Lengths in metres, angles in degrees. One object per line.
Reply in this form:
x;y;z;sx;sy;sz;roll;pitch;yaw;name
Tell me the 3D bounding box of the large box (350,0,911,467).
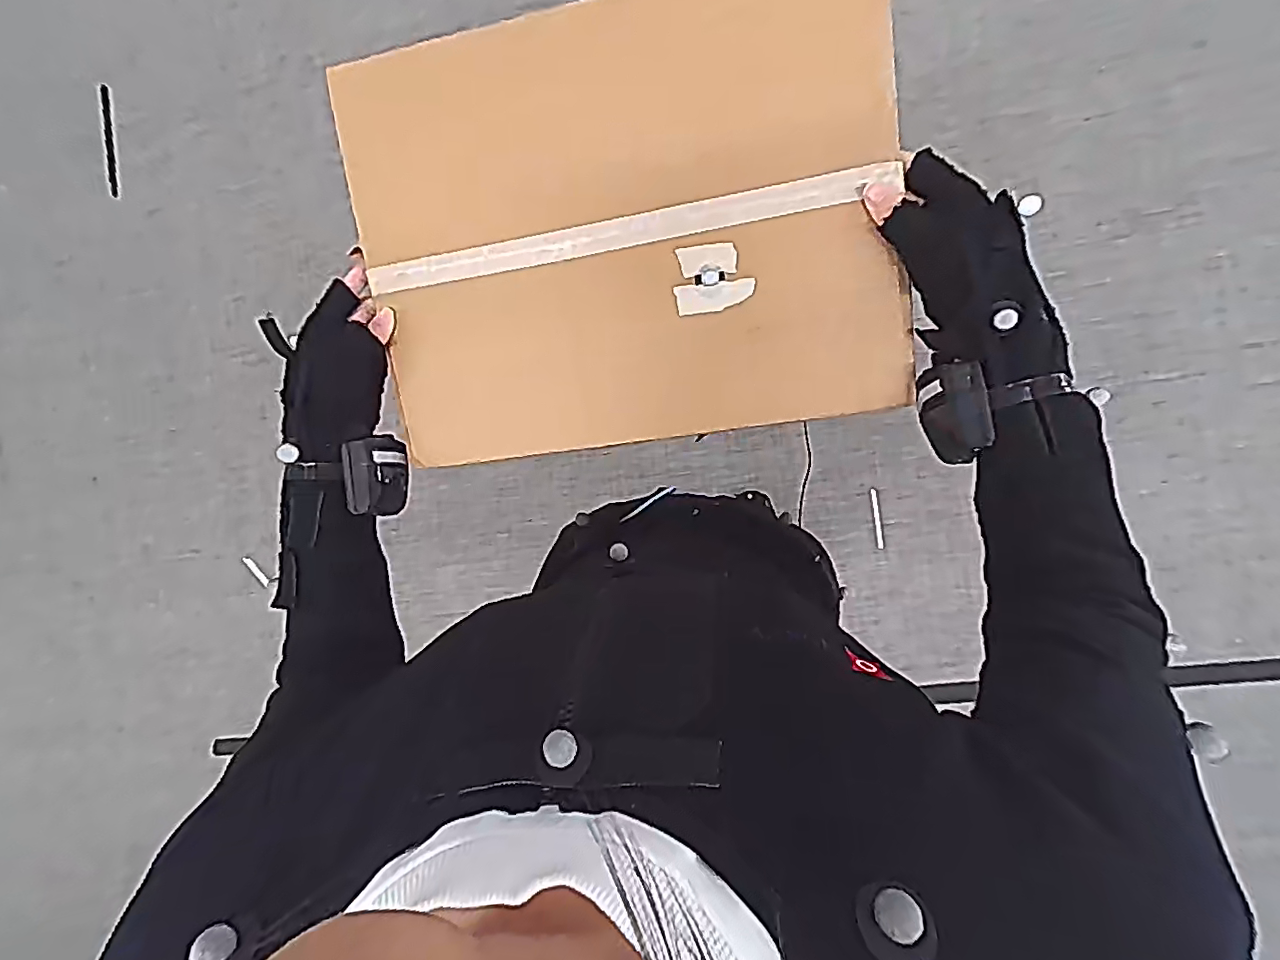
0.005;-0.213;0.562;0.408;0.320;0.320;-8;100;9;large box
